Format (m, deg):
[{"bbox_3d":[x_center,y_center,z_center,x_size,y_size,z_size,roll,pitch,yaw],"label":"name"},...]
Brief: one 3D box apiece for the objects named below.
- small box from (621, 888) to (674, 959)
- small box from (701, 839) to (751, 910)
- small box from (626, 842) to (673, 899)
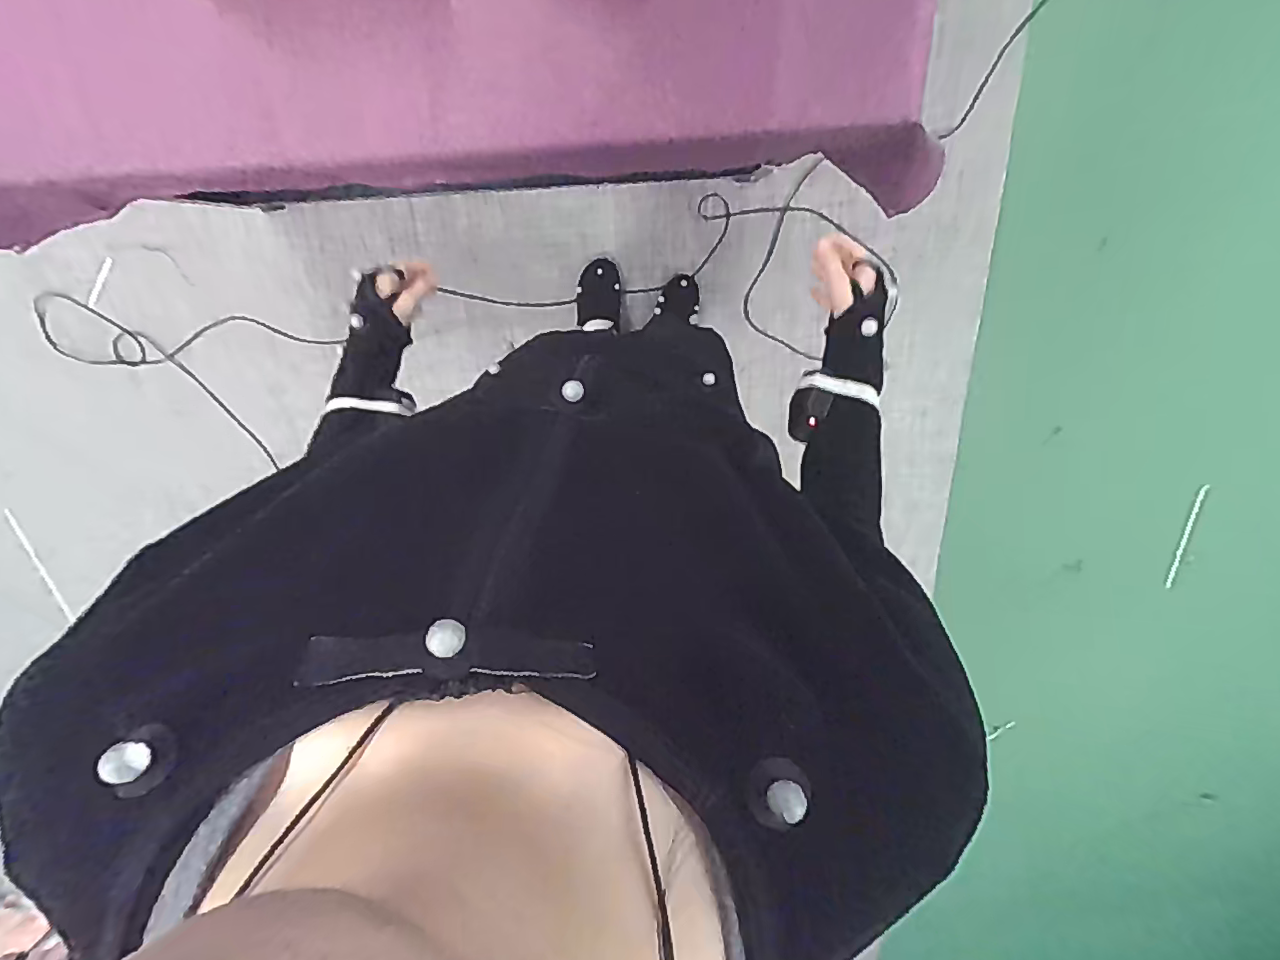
[{"bbox_3d":[0.023,1.646,1.997,0.179,0.176,0.168,4,112,-5],"label":"small box"},{"bbox_3d":[0.338,1.567,2.152,0.179,0.176,0.168,-5,113,0],"label":"small box"},{"bbox_3d":[0.033,1.585,2.151,0.168,0.176,0.179,4,112,-4],"label":"small box"}]
